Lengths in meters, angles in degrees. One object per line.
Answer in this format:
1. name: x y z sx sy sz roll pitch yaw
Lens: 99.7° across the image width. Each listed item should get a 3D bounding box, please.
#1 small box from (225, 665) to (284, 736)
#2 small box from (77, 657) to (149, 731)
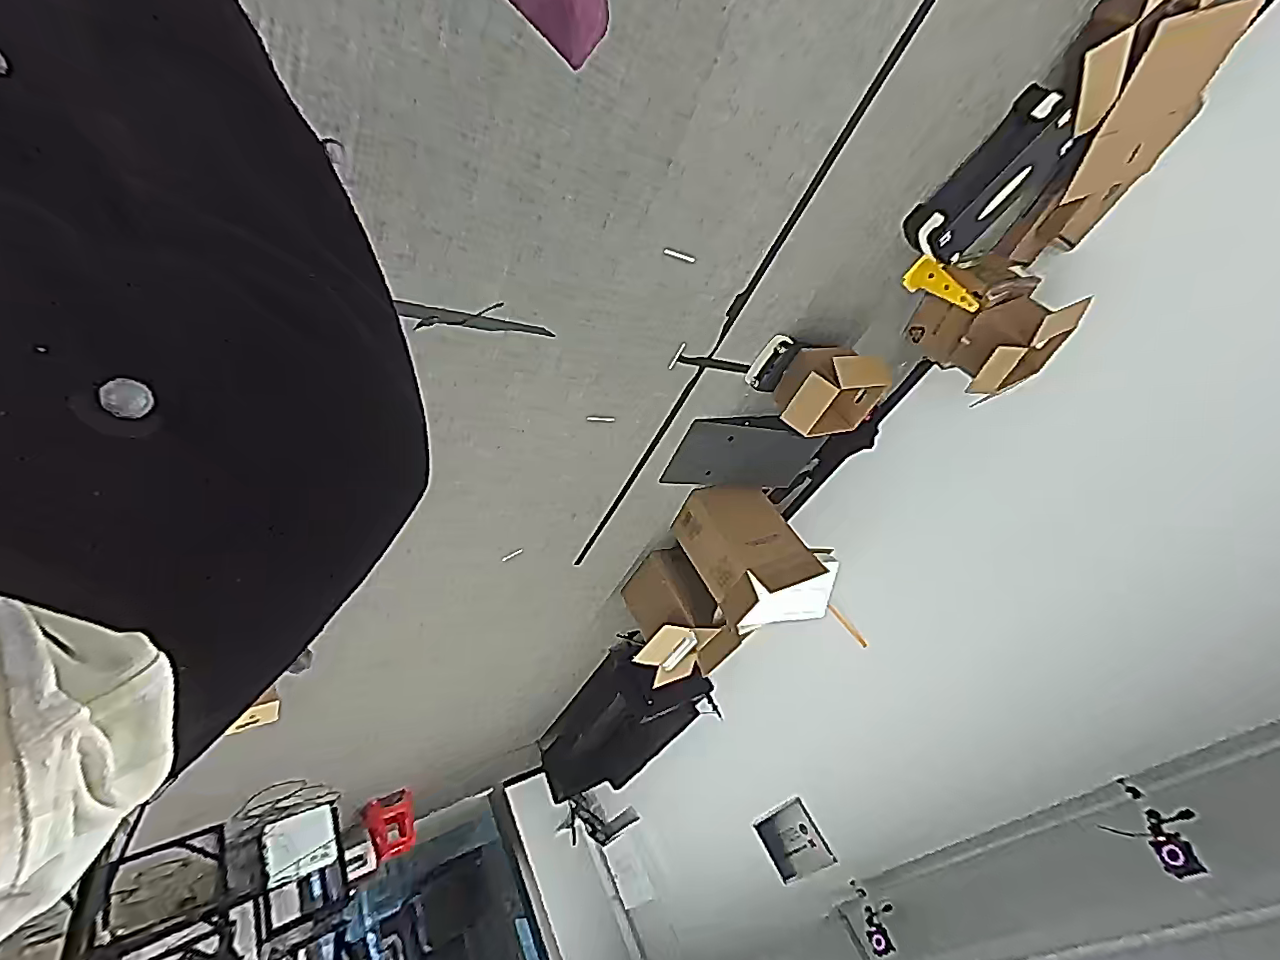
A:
1. small box: -1.475 0.838 2.065 0.168 0.176 0.179 -6 139 -40
2. small box: -1.858 0.748 1.908 0.179 0.176 0.168 2 135 -43
